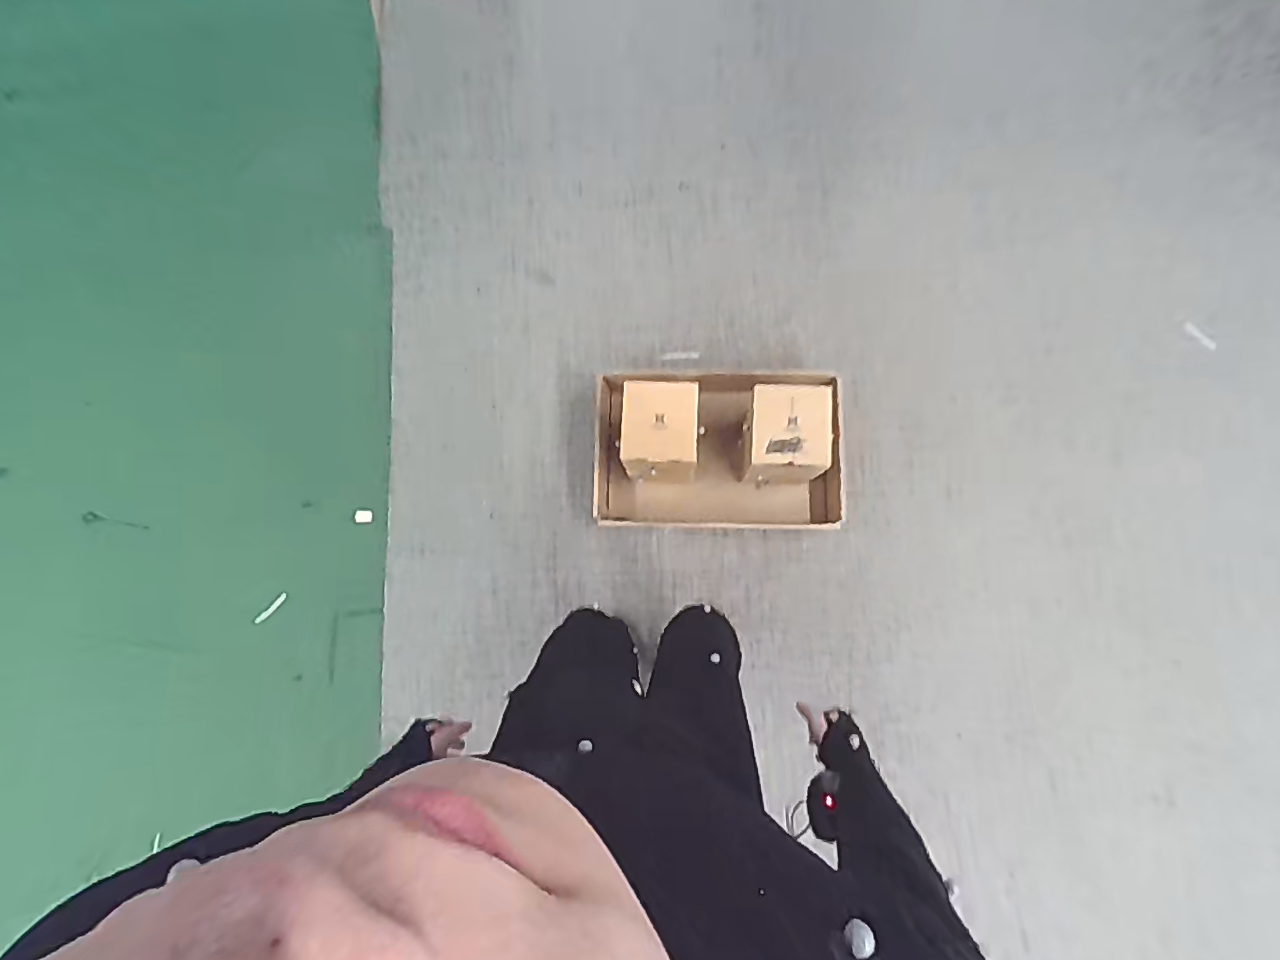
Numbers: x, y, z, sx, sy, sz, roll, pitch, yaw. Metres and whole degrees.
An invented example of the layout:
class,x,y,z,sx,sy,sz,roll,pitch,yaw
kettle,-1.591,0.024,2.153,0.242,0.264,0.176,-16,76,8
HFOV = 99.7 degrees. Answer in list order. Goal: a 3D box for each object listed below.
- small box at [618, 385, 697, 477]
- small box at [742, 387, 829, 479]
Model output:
class,x,y,z,sx,sy,sz,roll,pitch,yaw
small box,0.041,-0.108,1.245,0.168,0.176,0.179,2,81,3
small box,0.323,-0.099,1.222,0.168,0.176,0.179,2,81,5
